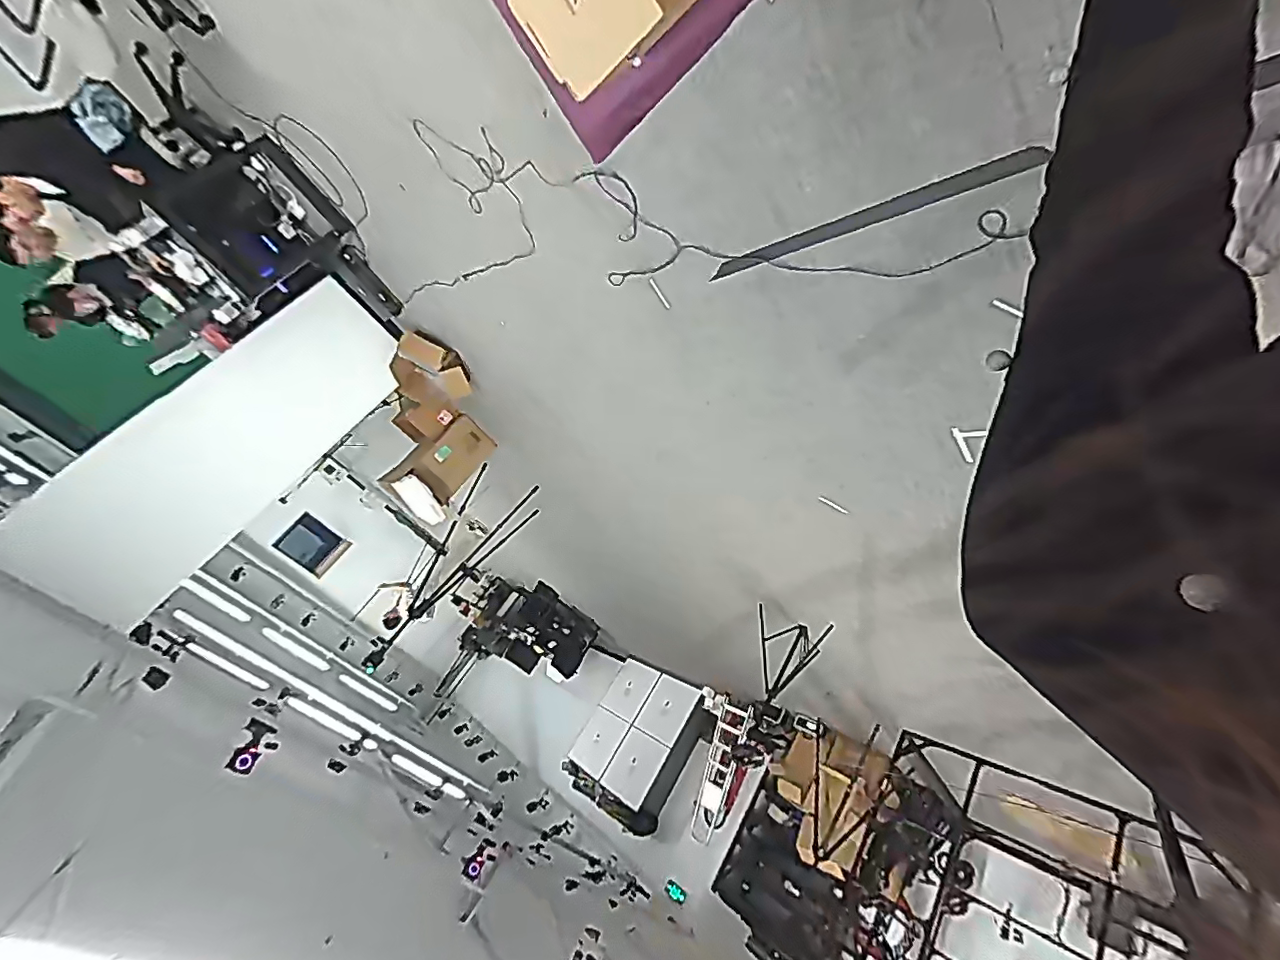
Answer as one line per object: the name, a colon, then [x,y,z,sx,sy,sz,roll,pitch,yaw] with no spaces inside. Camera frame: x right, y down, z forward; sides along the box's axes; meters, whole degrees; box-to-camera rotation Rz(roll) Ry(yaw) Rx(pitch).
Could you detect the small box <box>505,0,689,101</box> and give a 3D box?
small box: [-0.041,-0.604,0.635,0.179,0.176,0.168,0,138,51]
